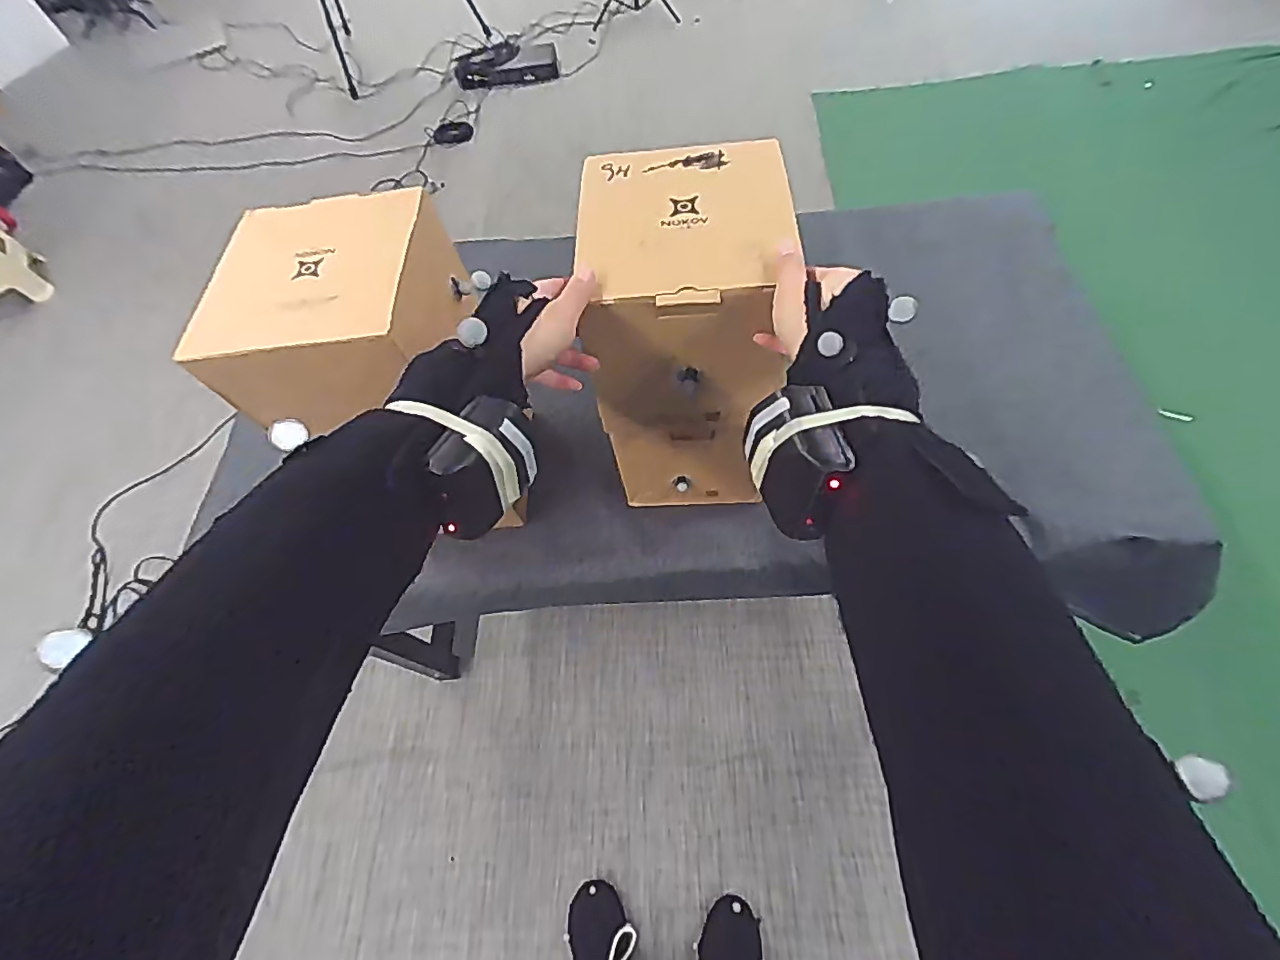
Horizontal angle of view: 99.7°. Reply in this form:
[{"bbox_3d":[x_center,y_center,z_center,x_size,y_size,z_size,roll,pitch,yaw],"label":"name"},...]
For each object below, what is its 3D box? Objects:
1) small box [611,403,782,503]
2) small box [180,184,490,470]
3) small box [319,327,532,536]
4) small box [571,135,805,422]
[{"bbox_3d":[0.061,-0.089,0.624,0.168,0.176,0.179,-3,61,5],"label":"small box"},{"bbox_3d":[-0.247,-0.130,0.493,0.168,0.176,0.179,-7,61,5],"label":"small box"},{"bbox_3d":[-0.230,-0.051,0.634,0.168,0.176,0.179,-6,61,4],"label":"small box"},{"bbox_3d":[0.042,-0.162,0.479,0.168,0.176,0.179,-3,62,5],"label":"small box"}]
